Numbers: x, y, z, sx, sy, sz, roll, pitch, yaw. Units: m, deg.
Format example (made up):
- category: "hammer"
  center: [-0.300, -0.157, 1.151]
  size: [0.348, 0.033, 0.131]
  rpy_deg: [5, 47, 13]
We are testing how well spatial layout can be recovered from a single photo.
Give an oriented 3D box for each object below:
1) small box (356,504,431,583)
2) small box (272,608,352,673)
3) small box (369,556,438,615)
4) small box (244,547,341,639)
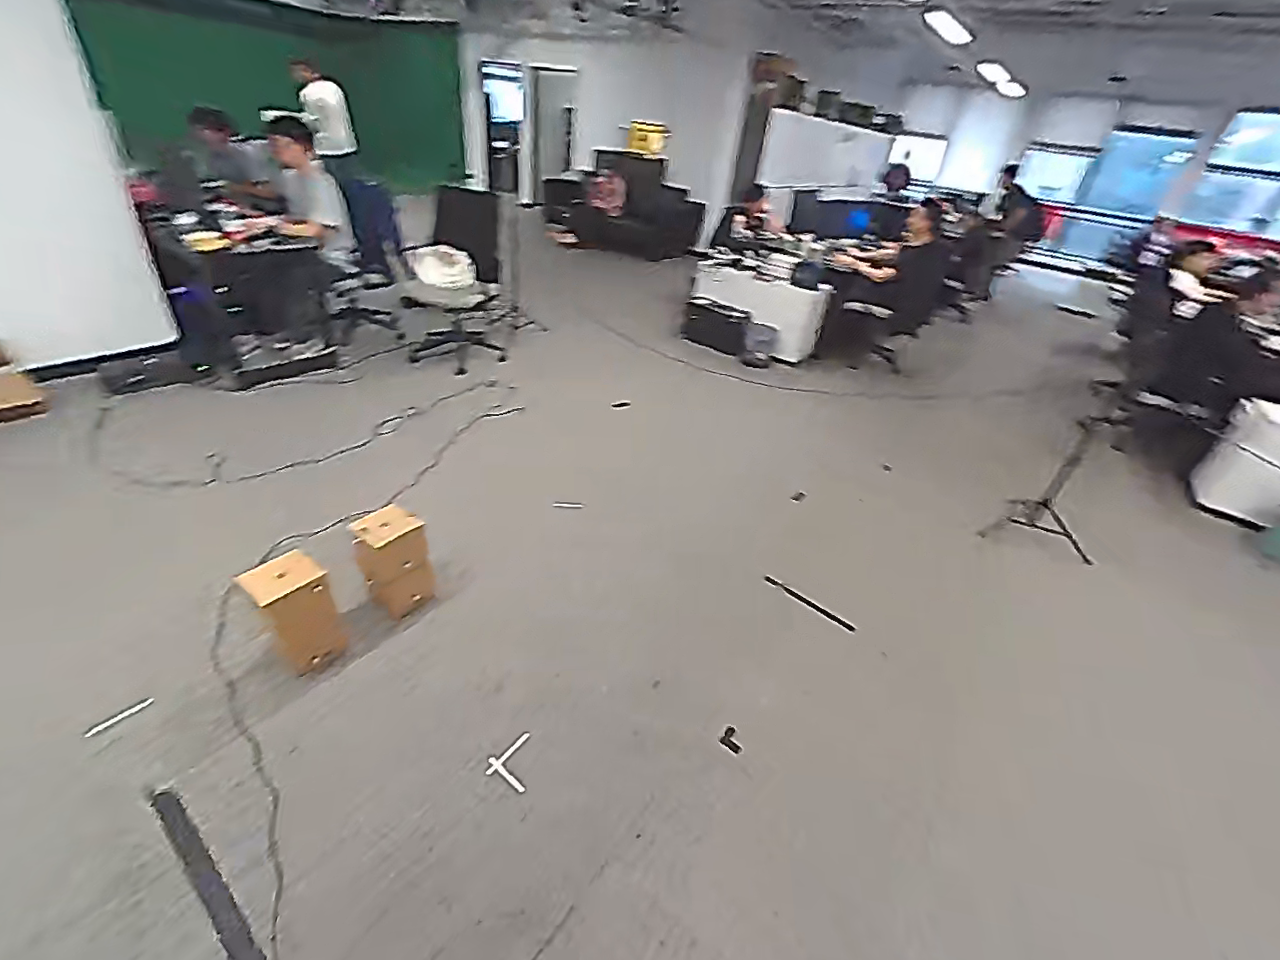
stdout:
- category: "small box"
  center: [-0.833, 0.214, 1.839]
  size: [0.168, 0.176, 0.179]
  rpy_deg: [27, 37, 27]
- category: "small box"
  center: [-1.044, 0.470, 1.713]
  size: [0.179, 0.176, 0.168]
  rpy_deg: [31, 41, 29]
- category: "small box"
  center: [-0.846, 0.348, 1.934]
  size: [0.179, 0.176, 0.168]
  rpy_deg: [28, 39, 26]
- category: "small box"
  center: [-1.030, 0.340, 1.617]
  size: [0.168, 0.176, 0.179]
  rpy_deg: [27, 38, 27]
